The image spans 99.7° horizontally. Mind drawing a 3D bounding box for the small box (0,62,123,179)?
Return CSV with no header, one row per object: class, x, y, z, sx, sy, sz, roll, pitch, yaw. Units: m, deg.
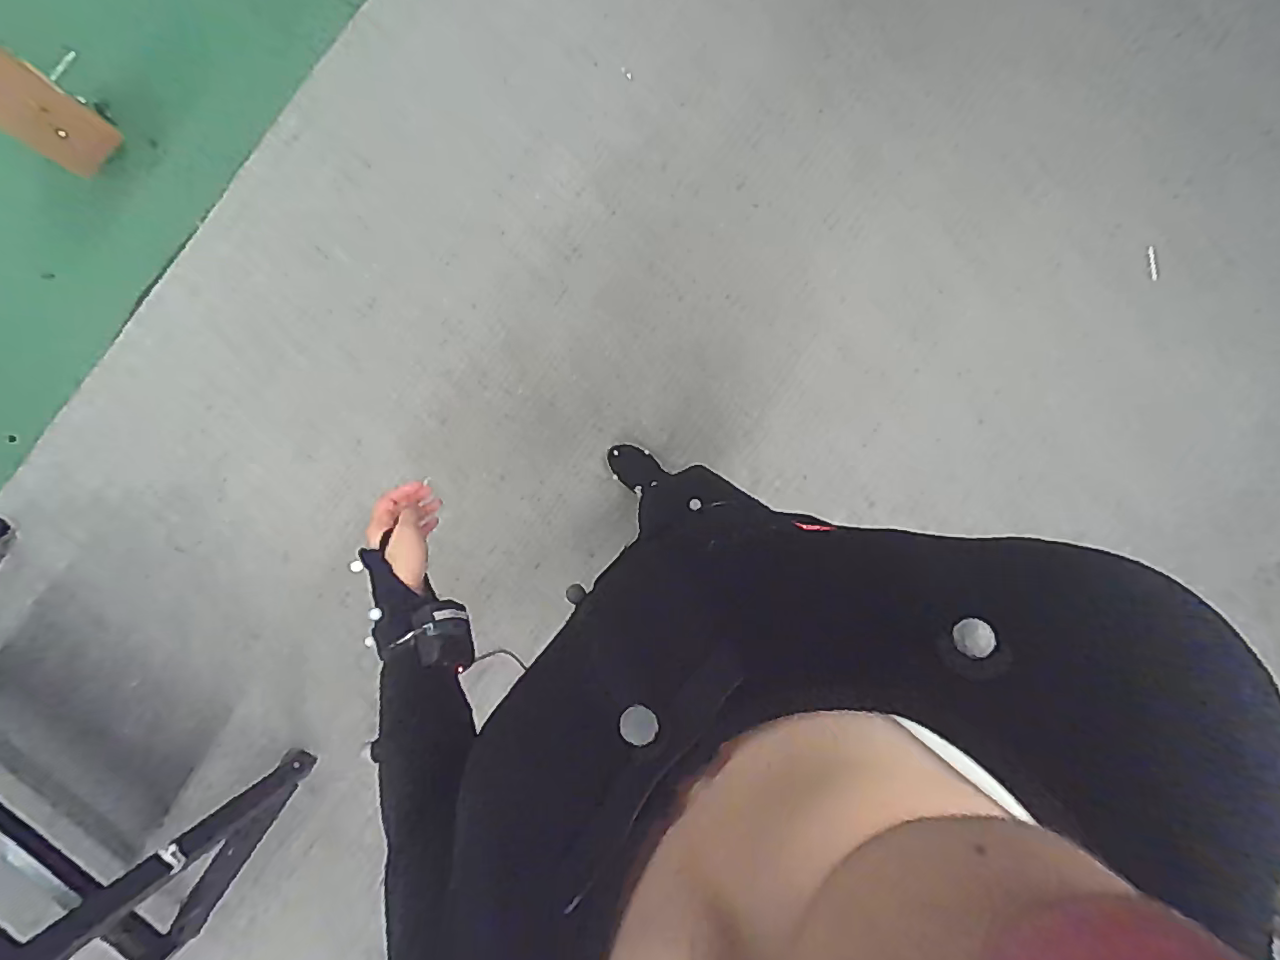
small box,-1.629,-1.002,1.521,0.168,0.176,0.179,39,89,3
